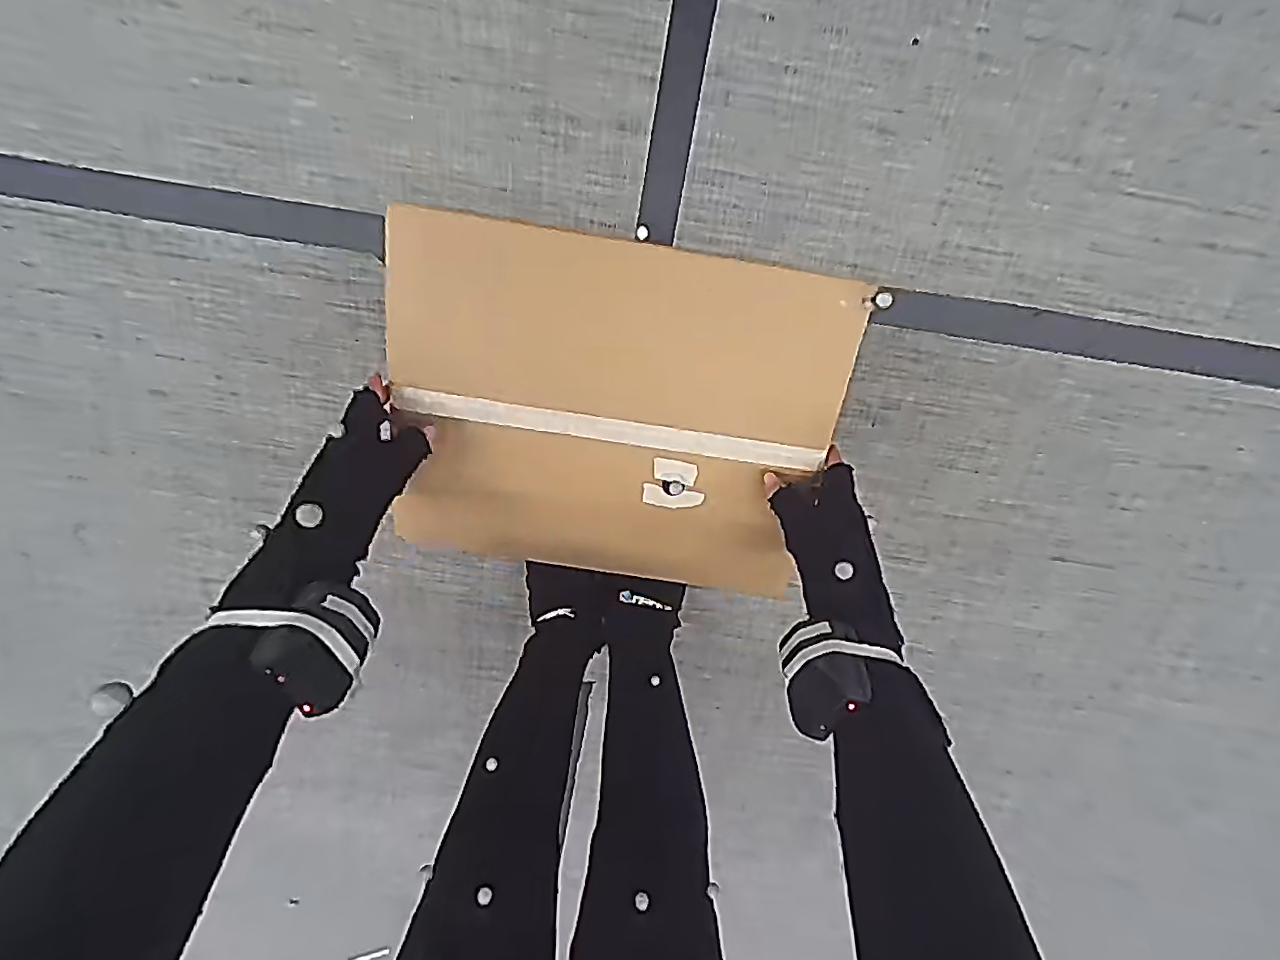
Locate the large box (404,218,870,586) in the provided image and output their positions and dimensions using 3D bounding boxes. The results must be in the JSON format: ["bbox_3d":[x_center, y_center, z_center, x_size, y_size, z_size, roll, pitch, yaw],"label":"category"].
[{"bbox_3d":[-0.019,-0.108,0.647,0.408,0.320,0.320,8,113,-2],"label":"large box"}]
